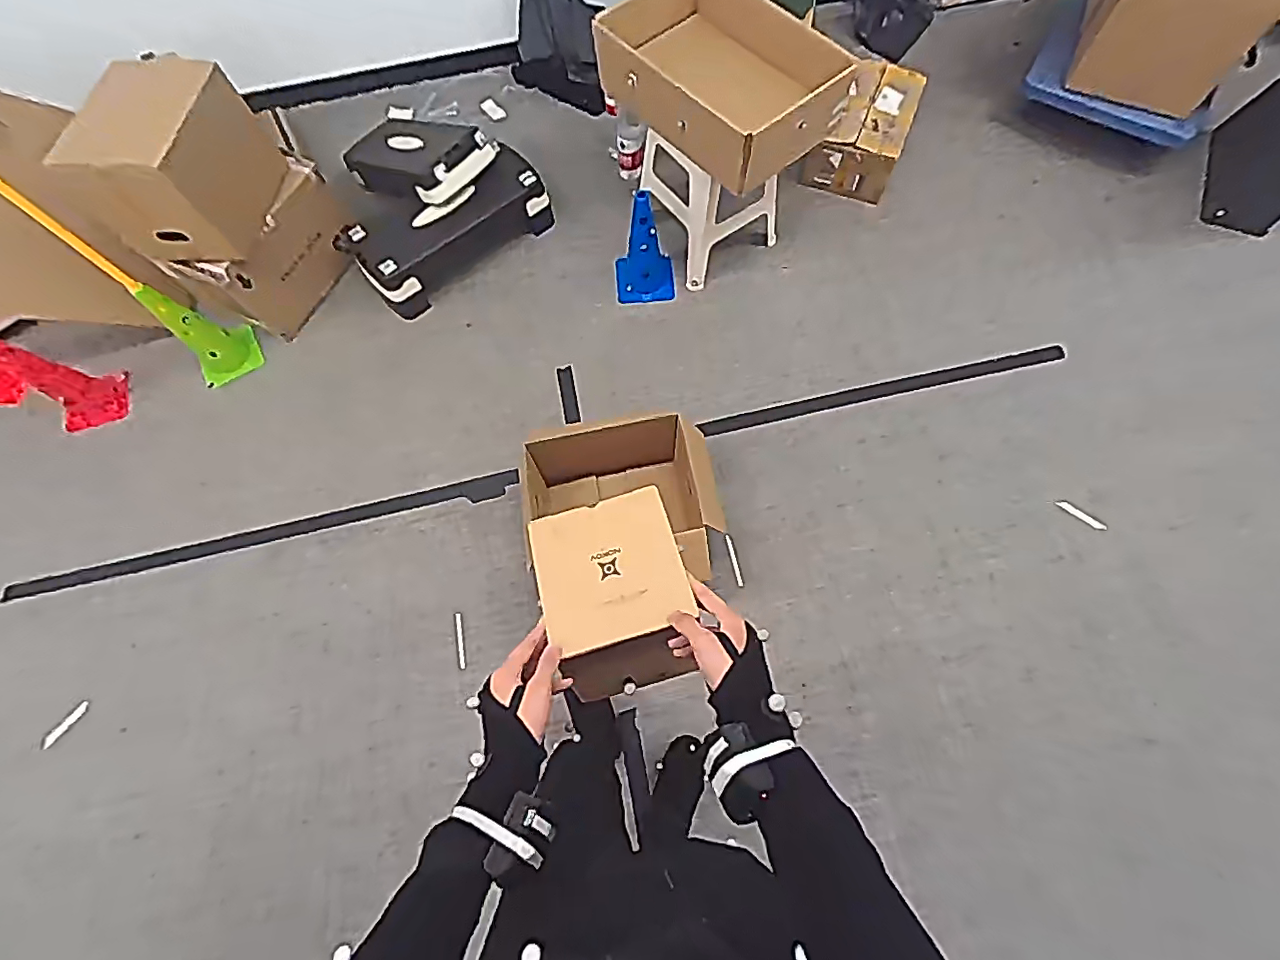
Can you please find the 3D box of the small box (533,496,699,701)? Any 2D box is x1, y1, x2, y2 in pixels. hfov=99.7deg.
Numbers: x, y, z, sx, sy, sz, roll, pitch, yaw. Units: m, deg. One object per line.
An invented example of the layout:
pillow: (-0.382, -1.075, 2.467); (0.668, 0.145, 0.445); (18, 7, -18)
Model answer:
small box: (-0.028, 0.153, 0.690); (0.168, 0.176, 0.179); (-16, 51, -3)
